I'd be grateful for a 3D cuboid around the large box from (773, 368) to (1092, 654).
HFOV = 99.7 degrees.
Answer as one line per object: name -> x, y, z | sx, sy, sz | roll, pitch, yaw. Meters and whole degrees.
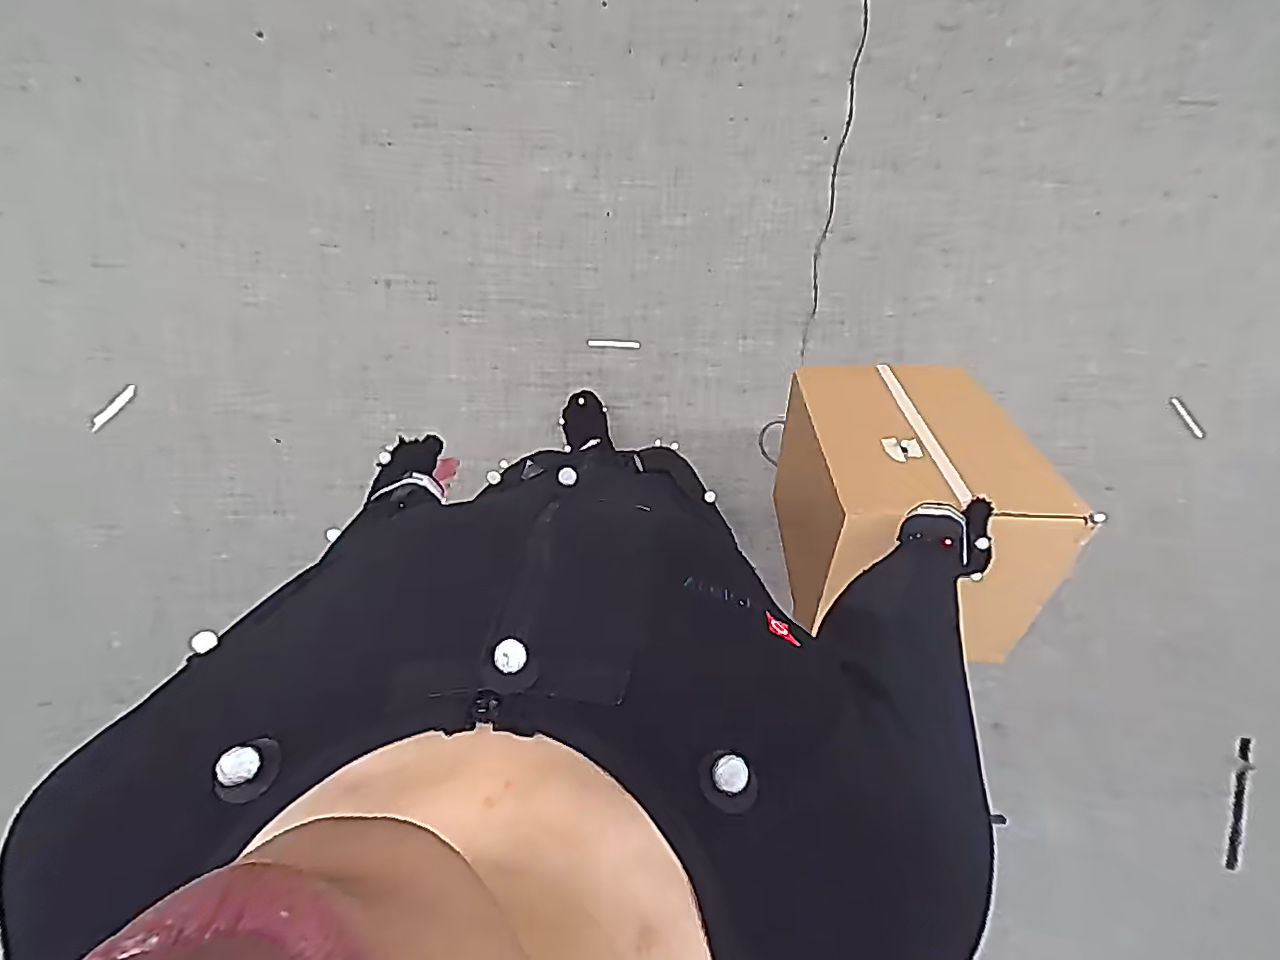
large box -> 0.434, 0.040, 0.940 | 0.320, 0.408, 0.320 | 1, 130, 3
